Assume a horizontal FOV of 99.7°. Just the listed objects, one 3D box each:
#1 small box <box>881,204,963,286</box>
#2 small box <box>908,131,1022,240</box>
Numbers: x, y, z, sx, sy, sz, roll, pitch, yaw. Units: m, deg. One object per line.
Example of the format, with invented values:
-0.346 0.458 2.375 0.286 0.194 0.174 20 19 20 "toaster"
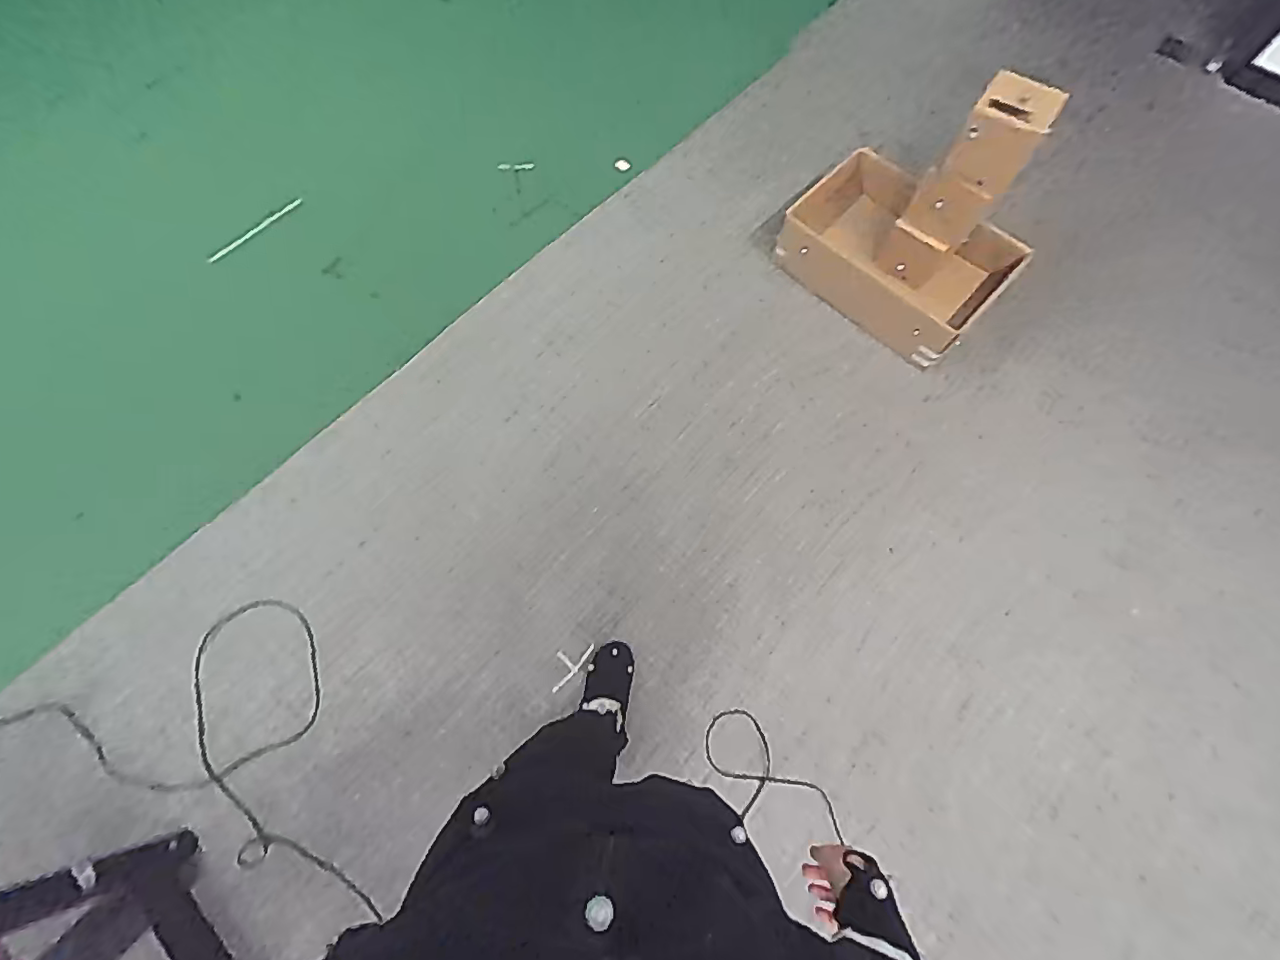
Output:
0.857 -0.725 1.615 0.168 0.176 0.179 42 77 17 "small box"
0.868 -0.790 1.464 0.179 0.176 0.168 37 75 16 "small box"
